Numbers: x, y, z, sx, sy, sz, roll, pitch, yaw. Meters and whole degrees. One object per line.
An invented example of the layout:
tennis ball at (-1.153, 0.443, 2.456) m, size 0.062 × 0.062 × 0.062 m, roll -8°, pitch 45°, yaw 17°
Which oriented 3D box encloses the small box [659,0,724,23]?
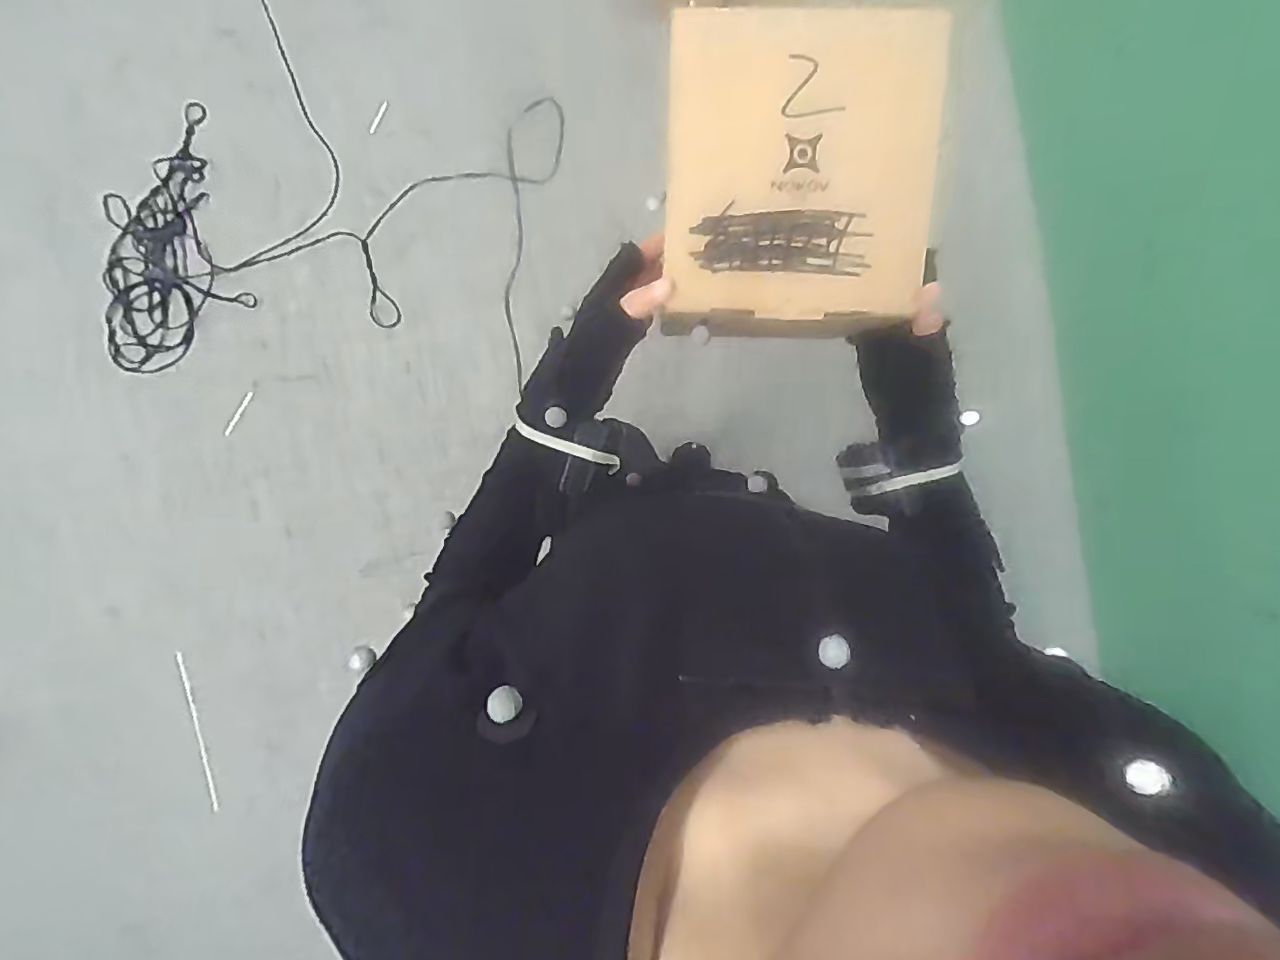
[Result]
small box at (0.122, -1.298, 1.340) m, size 0.168 × 0.176 × 0.179 m, roll -10°, pitch 92°, yaw 2°
